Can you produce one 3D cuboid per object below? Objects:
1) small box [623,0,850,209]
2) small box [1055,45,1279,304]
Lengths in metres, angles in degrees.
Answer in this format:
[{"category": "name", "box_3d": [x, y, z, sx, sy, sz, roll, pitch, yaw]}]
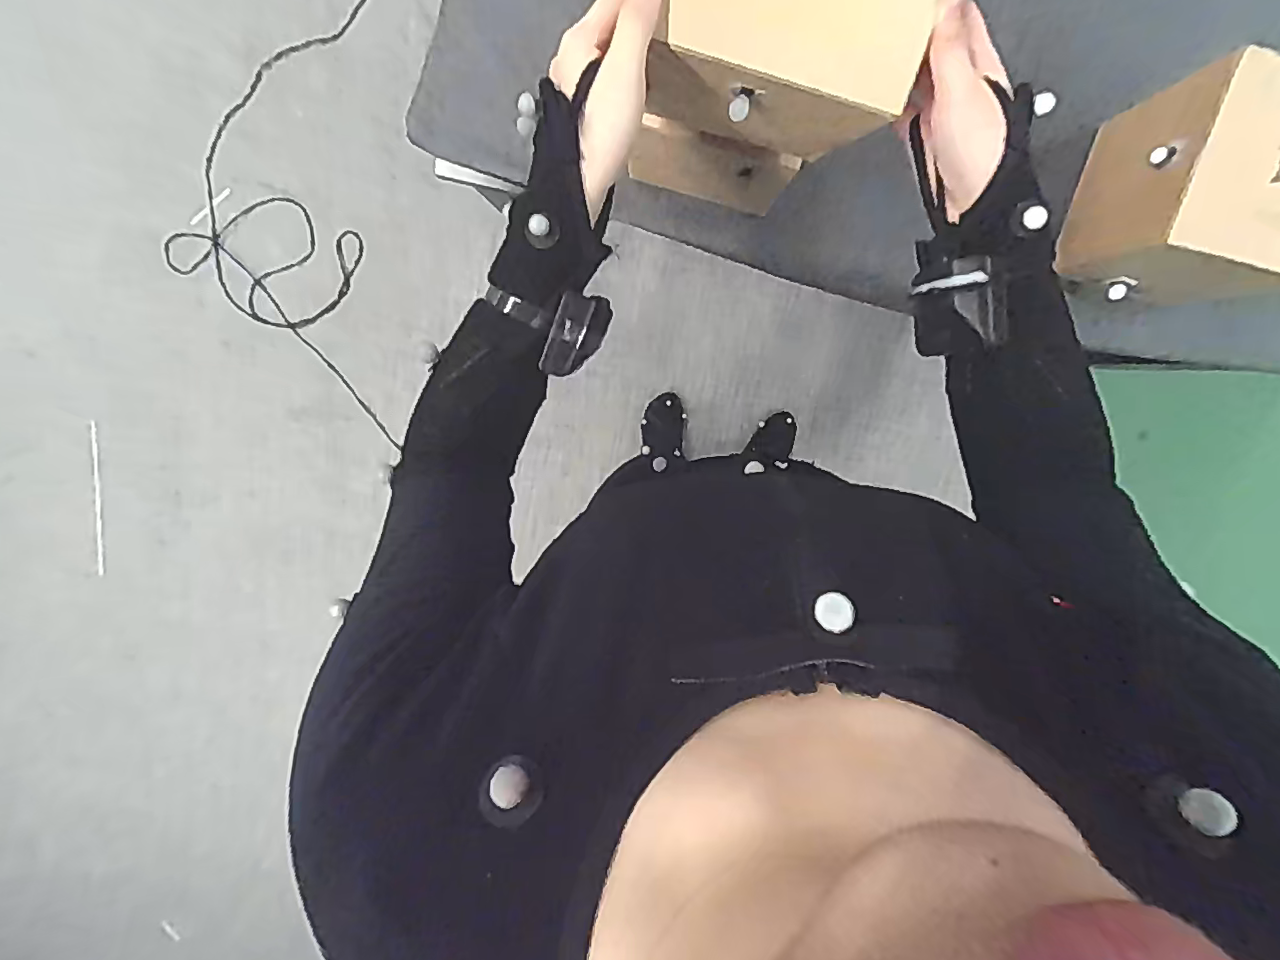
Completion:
[{"category": "small box", "box_3d": [0.089, -0.409, 0.574, 0.179, 0.176, 0.168, 15, 102, -1]}, {"category": "small box", "box_3d": [0.600, -0.303, 0.578, 0.168, 0.176, 0.179, 14, 101, 0]}]
